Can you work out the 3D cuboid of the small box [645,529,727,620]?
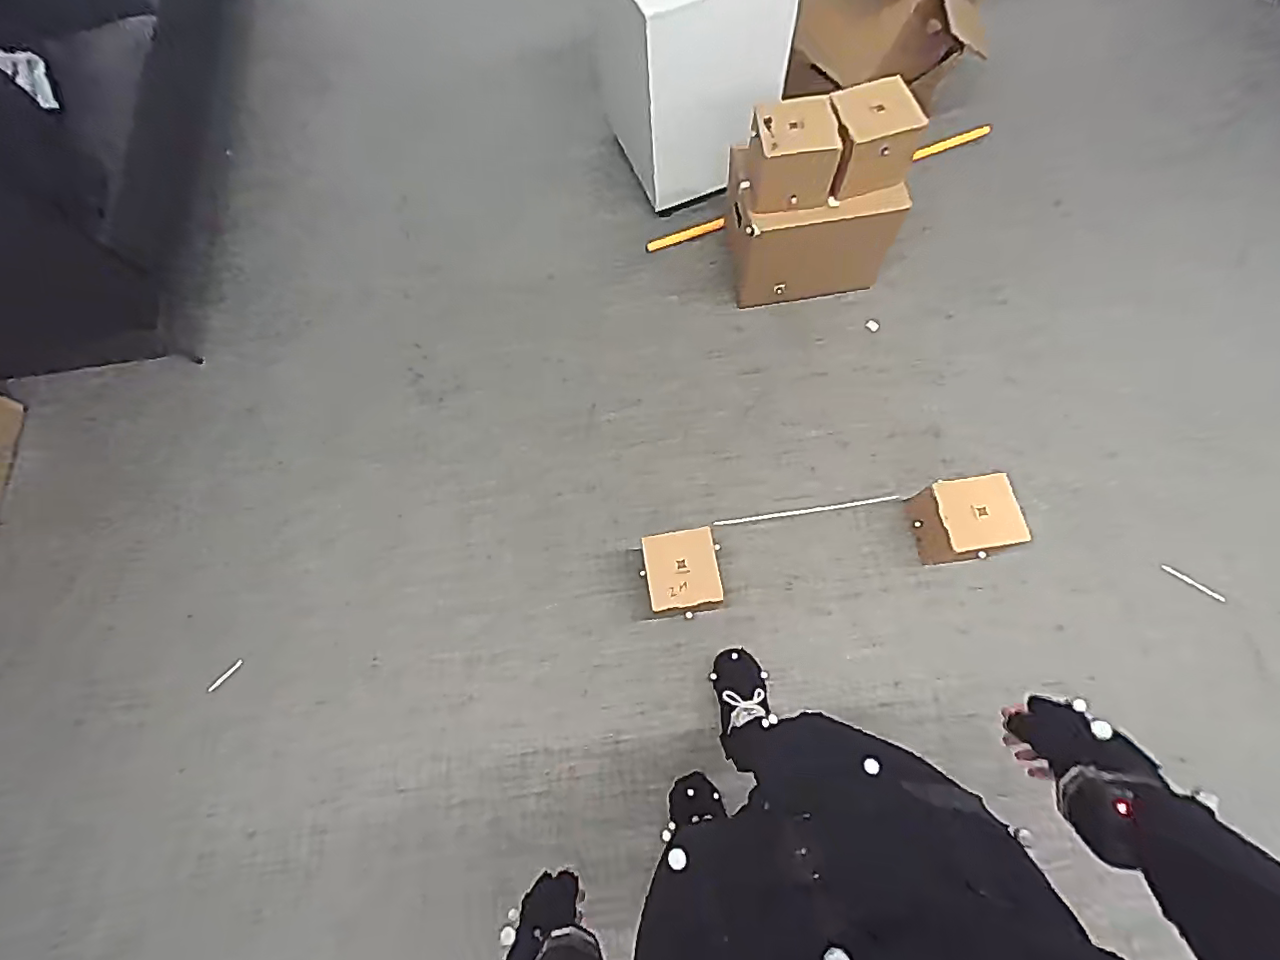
[{"bbox_3d":[0.108,0.231,1.299,0.168,0.176,0.179,-10,71,2],"label":"small box"}]

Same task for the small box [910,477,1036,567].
[{"bbox_3d":[0.781,0.104,1.288,0.179,0.176,0.168,-10,71,2],"label":"small box"}]
